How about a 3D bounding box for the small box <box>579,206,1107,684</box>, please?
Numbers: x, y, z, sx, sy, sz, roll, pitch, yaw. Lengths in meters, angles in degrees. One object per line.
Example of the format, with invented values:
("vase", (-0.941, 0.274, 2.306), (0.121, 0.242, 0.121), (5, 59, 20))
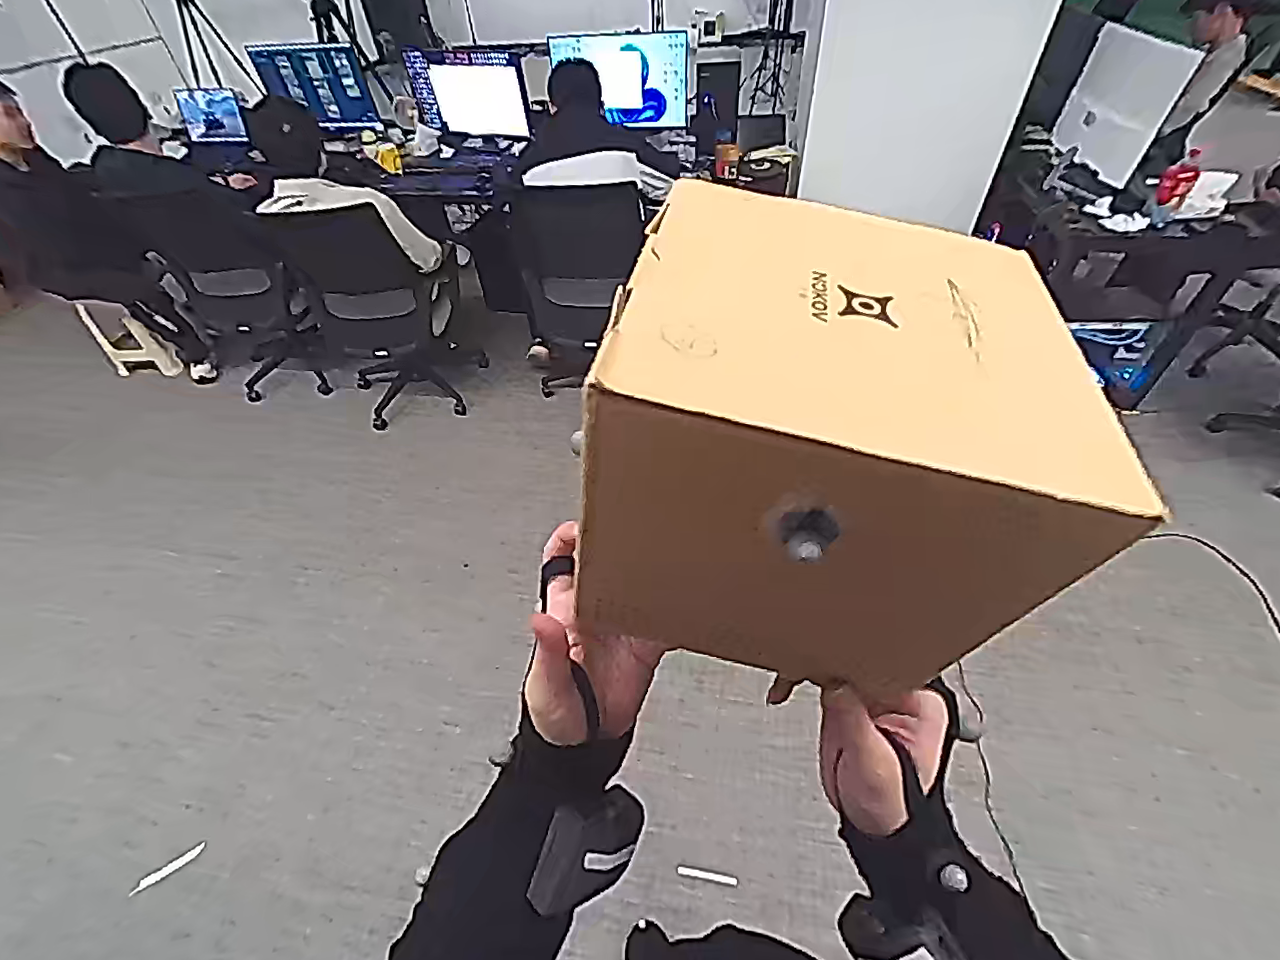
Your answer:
("small box", (0.071, -0.012, 0.286), (0.179, 0.176, 0.168), (13, 50, 1))
